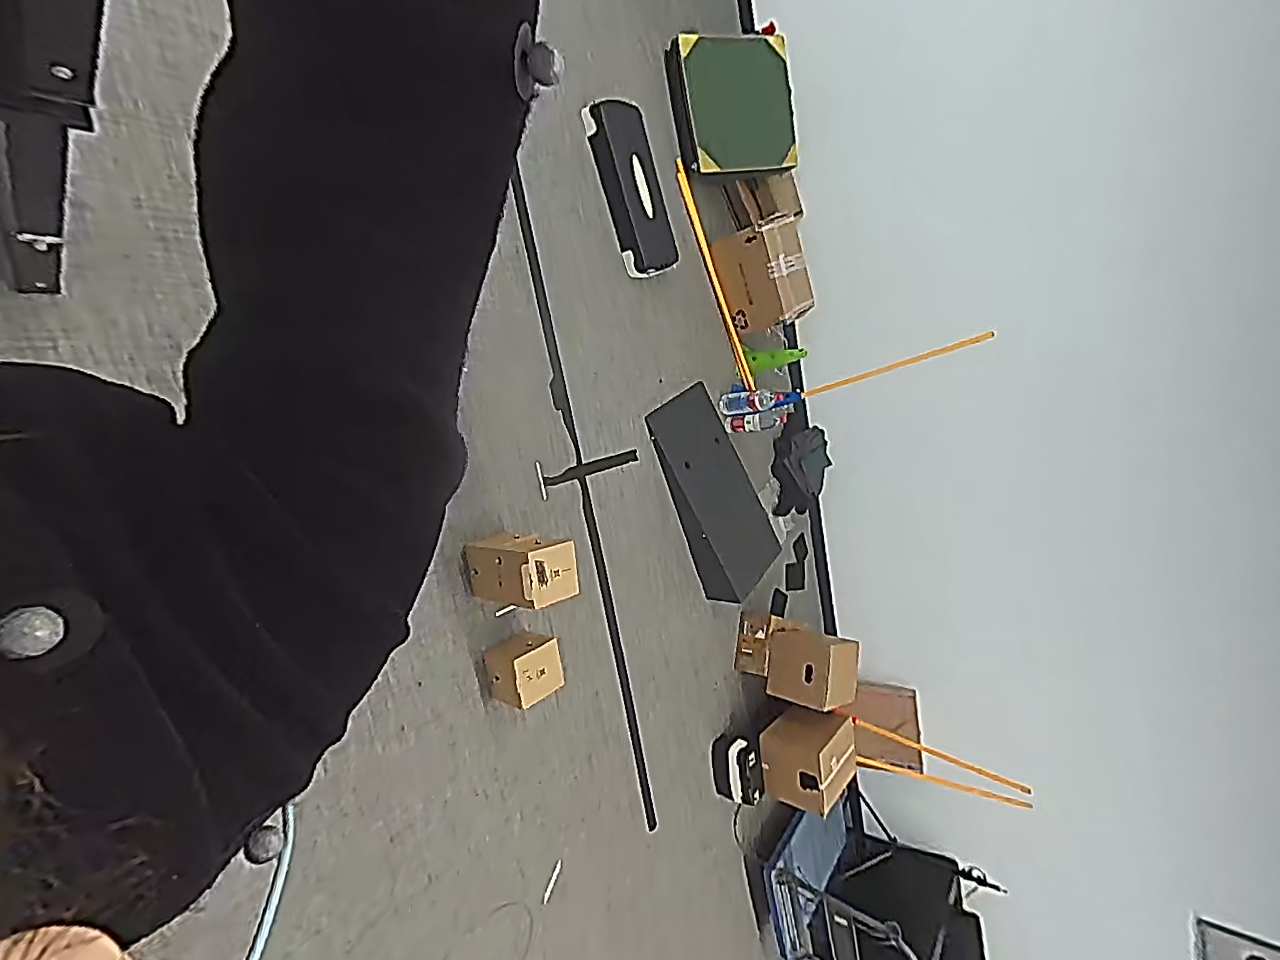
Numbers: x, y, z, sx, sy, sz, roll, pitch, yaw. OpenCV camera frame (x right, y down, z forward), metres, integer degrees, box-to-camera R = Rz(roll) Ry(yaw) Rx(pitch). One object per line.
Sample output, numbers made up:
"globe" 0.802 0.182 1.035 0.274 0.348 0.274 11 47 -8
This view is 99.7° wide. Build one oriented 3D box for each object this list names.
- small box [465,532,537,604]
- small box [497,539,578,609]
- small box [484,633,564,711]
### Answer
"small box" -0.430 0.272 1.712 0.168 0.176 0.179 -17 102 -48
"small box" -0.309 0.273 1.600 0.179 0.176 0.168 -11 97 -49
"small box" -0.377 0.614 1.758 0.179 0.176 0.168 -17 101 -48
